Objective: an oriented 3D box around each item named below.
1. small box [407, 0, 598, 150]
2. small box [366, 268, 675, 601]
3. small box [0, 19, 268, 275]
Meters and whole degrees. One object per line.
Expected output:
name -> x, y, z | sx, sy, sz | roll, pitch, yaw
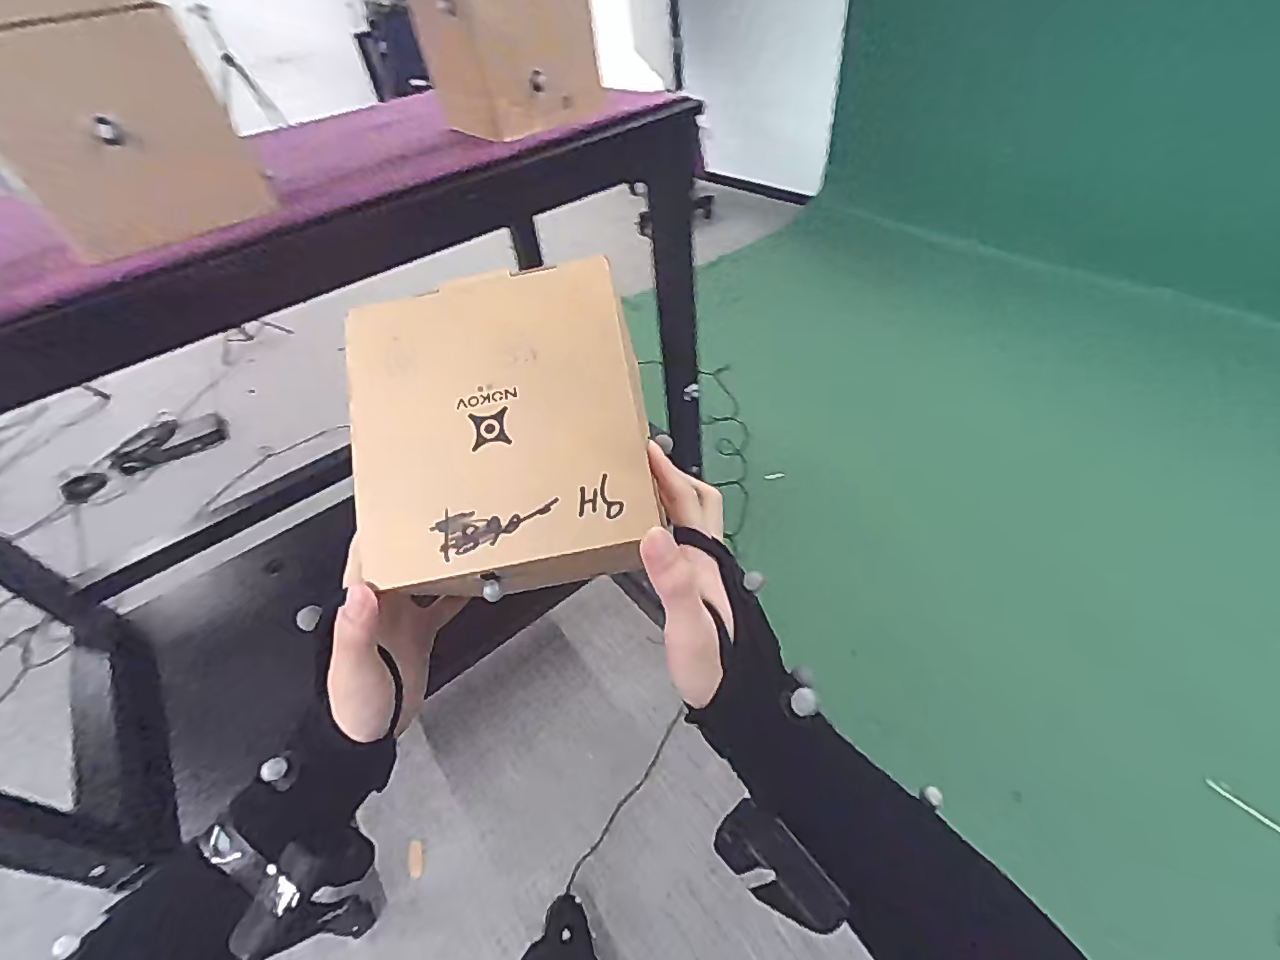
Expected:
small box -> -0.176, -0.550, 0.706 | 0.168, 0.176, 0.179 | -33, 50, -22
small box -> -0.071, -0.015, 0.390 | 0.168, 0.176, 0.179 | -11, 75, 4
small box -> -0.503, -0.329, 0.532 | 0.179, 0.176, 0.168 | -33, 48, -21
